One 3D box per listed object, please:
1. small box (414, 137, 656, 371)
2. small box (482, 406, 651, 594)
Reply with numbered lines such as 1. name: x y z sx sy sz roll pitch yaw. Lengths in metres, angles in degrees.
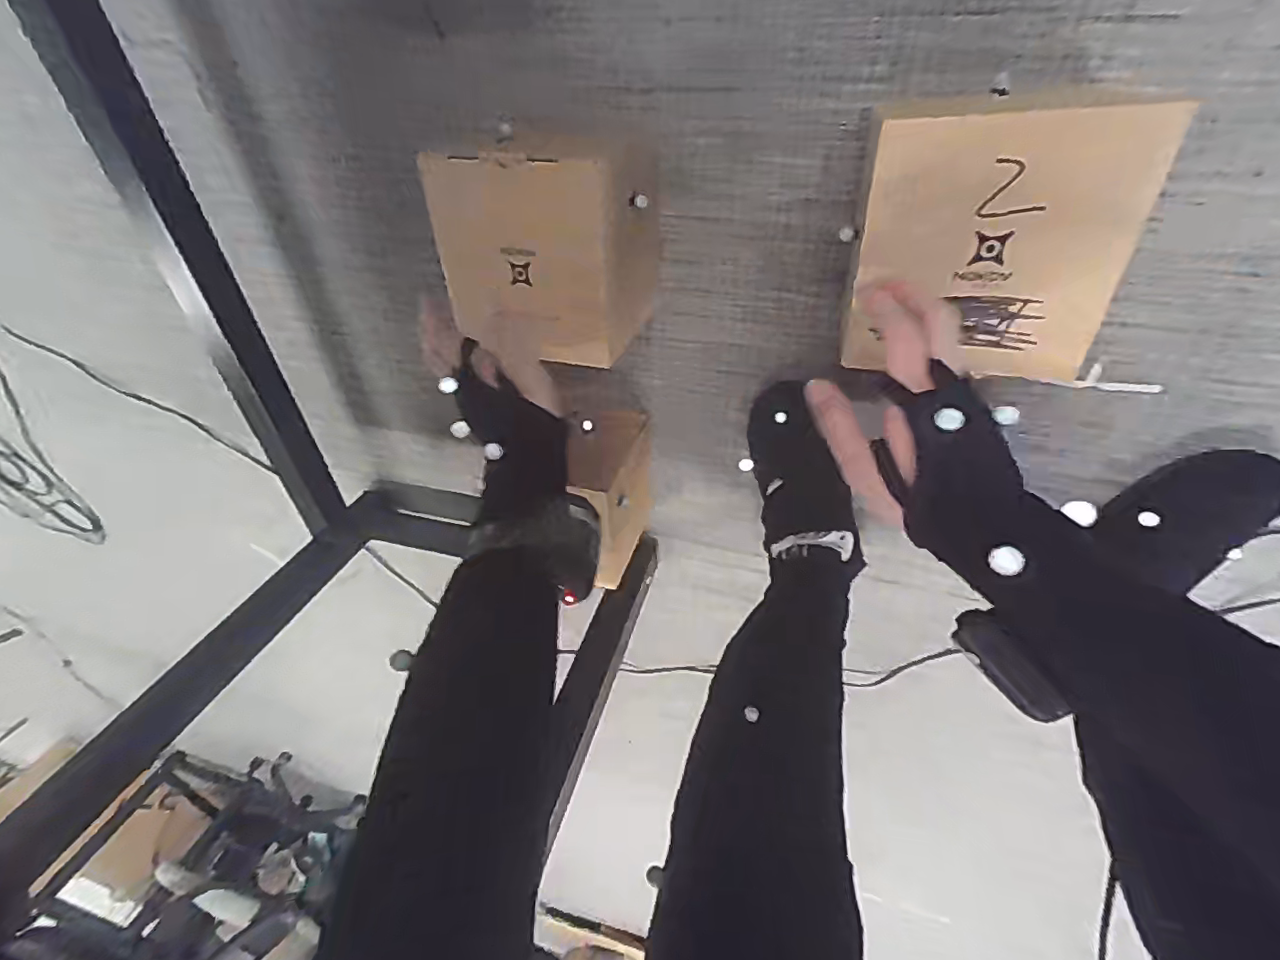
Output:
1. small box: -0.086 -0.233 0.540 0.168 0.176 0.179 11 130 16
2. small box: -0.086 0.022 0.743 0.168 0.176 0.179 9 129 16
